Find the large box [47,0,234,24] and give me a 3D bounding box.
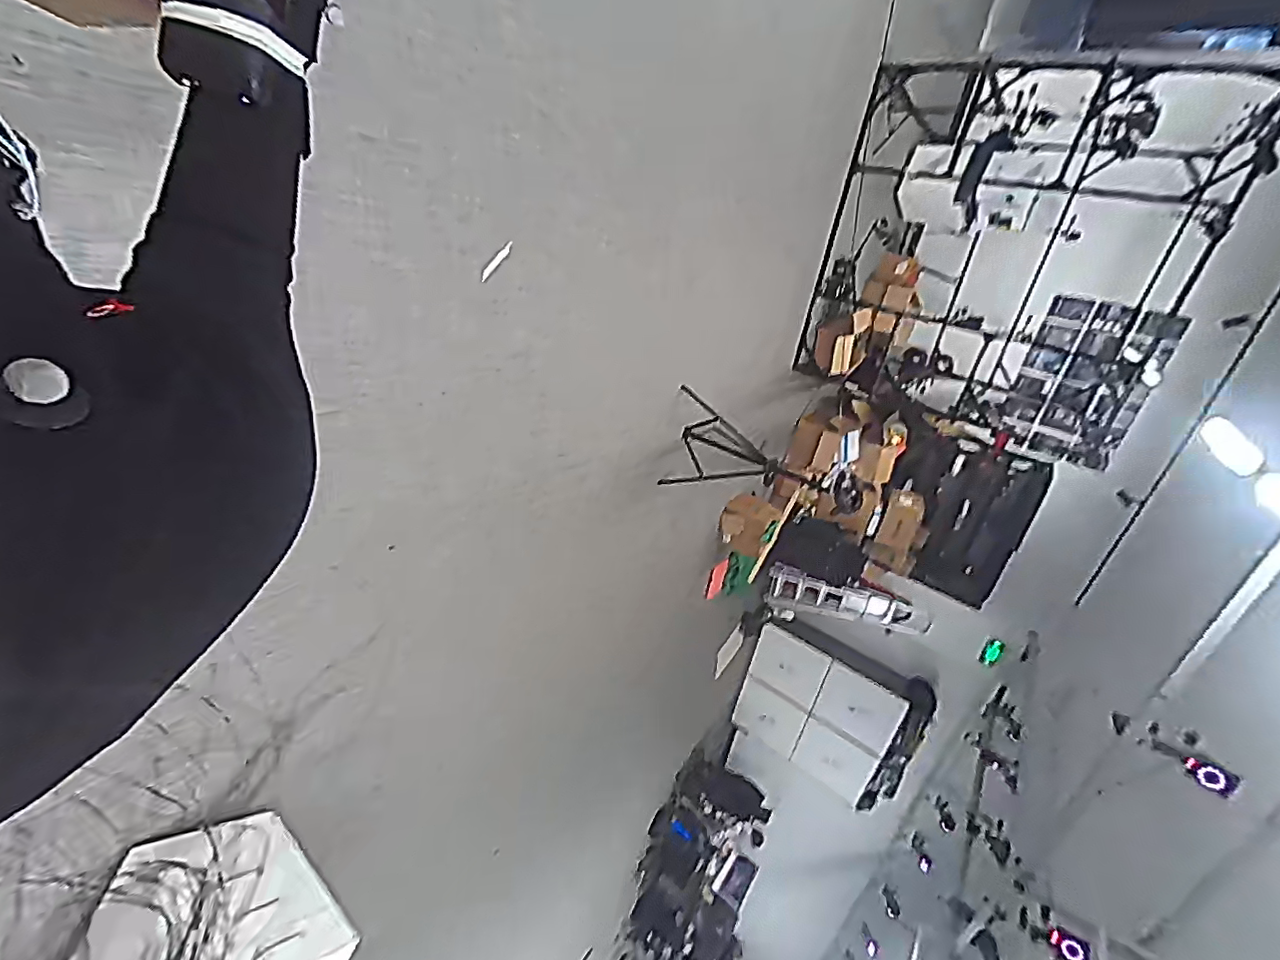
[{"bbox_3d":[-0.458,-0.516,0.247,0.408,0.320,0.320,0,115,-60],"label":"large box"}]
